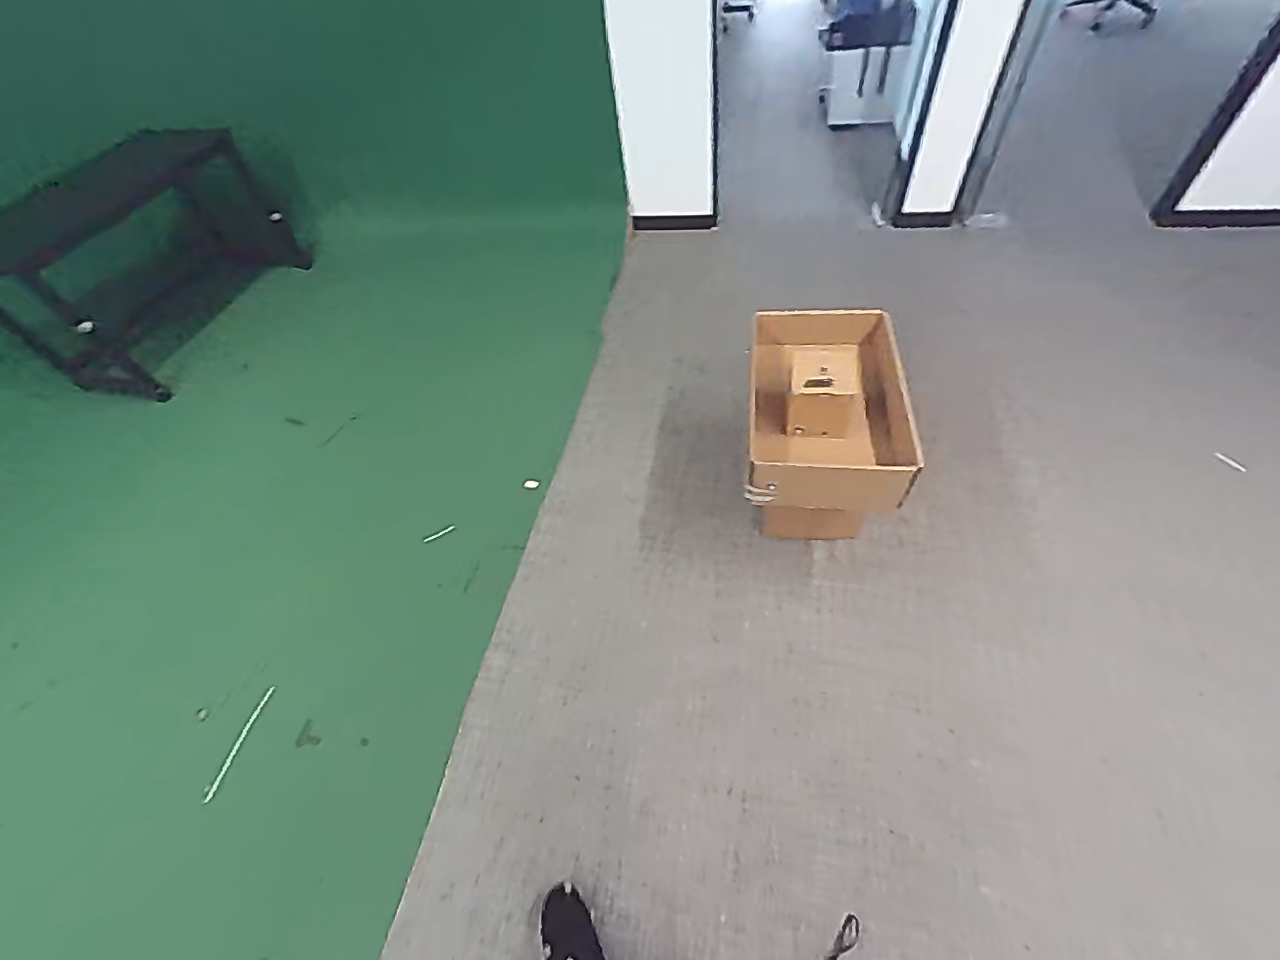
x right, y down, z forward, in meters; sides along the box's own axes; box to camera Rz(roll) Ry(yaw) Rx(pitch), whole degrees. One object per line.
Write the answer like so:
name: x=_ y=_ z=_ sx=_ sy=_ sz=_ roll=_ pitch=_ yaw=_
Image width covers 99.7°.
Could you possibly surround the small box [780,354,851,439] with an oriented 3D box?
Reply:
small box: x=0.484 y=-0.231 z=1.506 sx=0.168 sy=0.176 sz=0.179 roll=3 pitch=52 yaw=10
